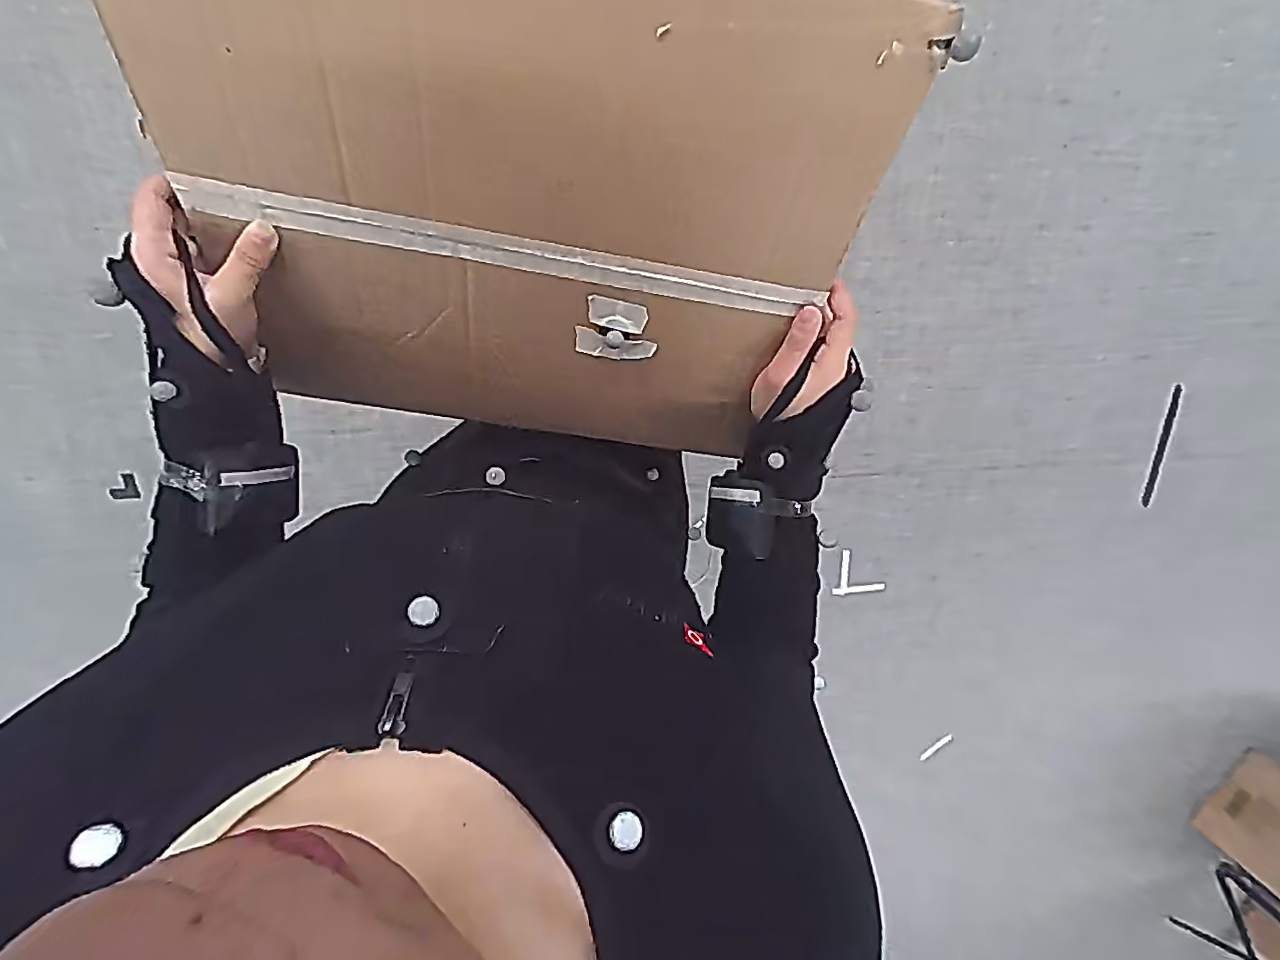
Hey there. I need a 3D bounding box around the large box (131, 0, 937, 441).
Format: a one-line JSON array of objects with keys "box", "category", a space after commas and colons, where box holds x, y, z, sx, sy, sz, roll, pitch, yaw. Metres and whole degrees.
[{"box": [-0.072, -0.265, 0.454, 0.408, 0.320, 0.320, 6, 139, -8], "category": "large box"}]
